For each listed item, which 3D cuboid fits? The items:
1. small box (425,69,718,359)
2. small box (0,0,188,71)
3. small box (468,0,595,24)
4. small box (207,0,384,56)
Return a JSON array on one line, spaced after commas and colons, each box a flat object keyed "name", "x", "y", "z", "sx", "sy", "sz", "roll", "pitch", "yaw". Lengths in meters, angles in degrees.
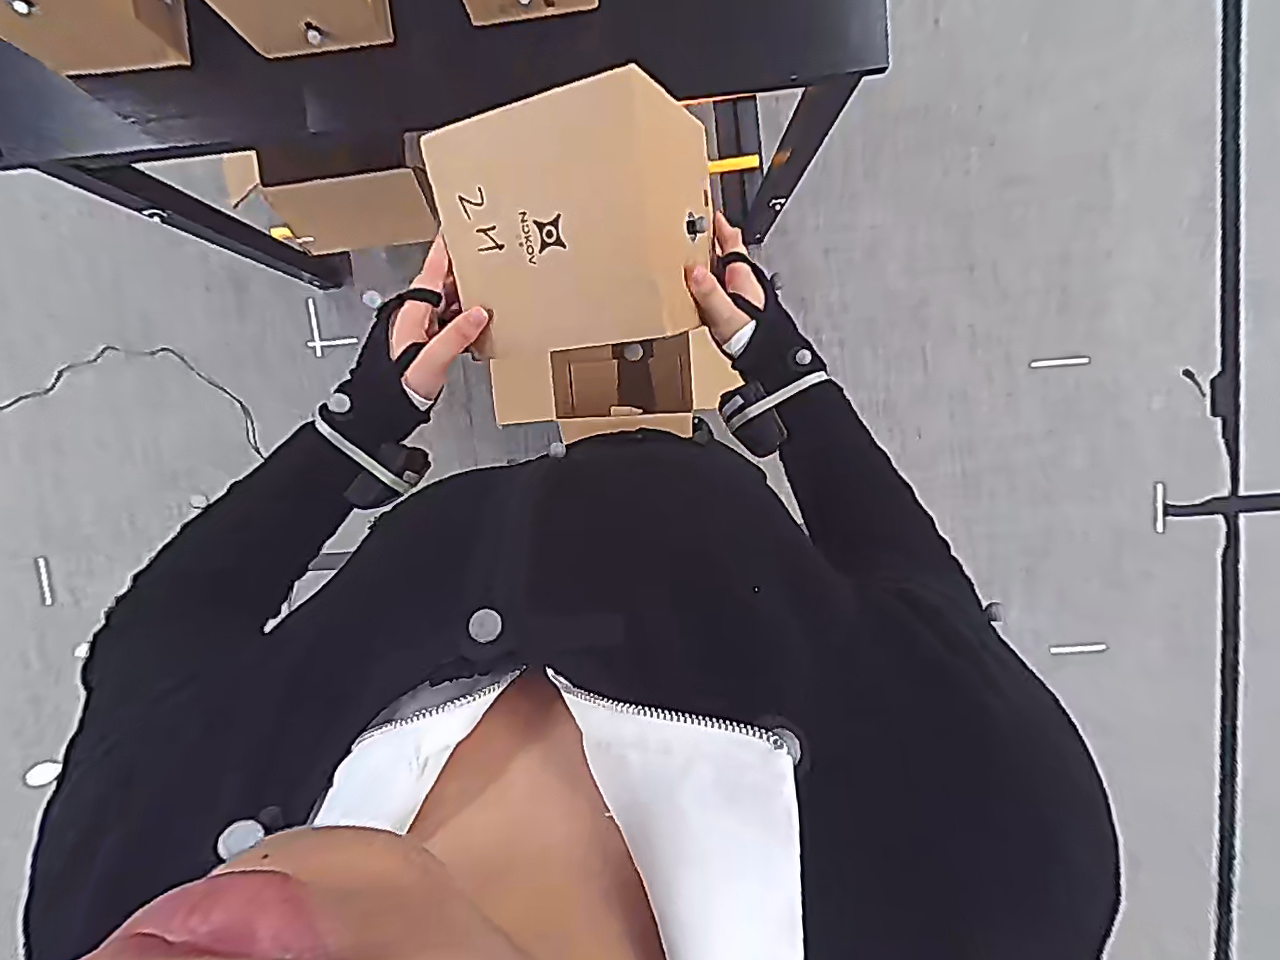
[{"name": "small box", "x": -0.037, "y": -0.201, "z": 0.452, "sx": 0.179, "sy": 0.176, "sz": 0.168, "roll": 0, "pitch": 109, "yaw": 23}, {"name": "small box", "x": -0.676, "y": -0.605, "z": 0.616, "sx": 0.179, "sy": 0.176, "sz": 0.168, "roll": -4, "pitch": 96, "yaw": 0}, {"name": "small box", "x": -0.144, "y": -0.671, "z": 0.606, "sx": 0.168, "sy": 0.176, "sz": 0.179, "roll": -7, "pitch": 96, "yaw": 1}, {"name": "small box", "x": -0.413, "y": -0.628, "z": 0.613, "sx": 0.179, "sy": 0.176, "sz": 0.168, "roll": -7, "pitch": 95, "yaw": 0}]
